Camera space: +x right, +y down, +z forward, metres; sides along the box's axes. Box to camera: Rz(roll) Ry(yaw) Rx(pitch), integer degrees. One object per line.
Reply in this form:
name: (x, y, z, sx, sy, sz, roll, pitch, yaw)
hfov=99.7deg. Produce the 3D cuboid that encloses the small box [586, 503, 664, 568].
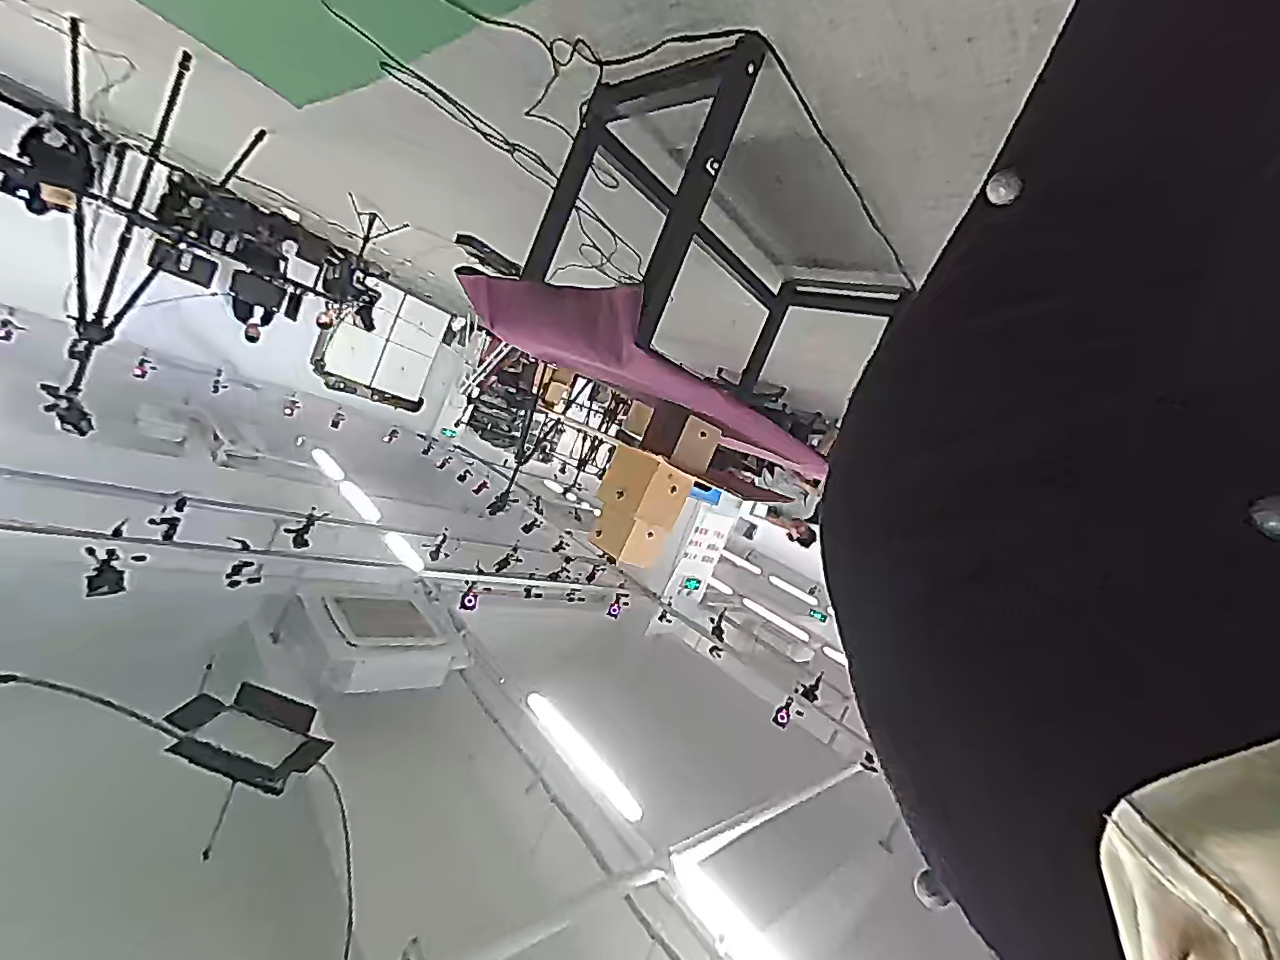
small box: (-0.042, 0.166, 1.779, 0.168, 0.176, 0.179, 23, -178, -45)

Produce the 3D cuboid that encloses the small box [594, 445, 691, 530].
small box: (0.010, 0.016, 1.493, 0.168, 0.176, 0.179, 22, -178, -45)
